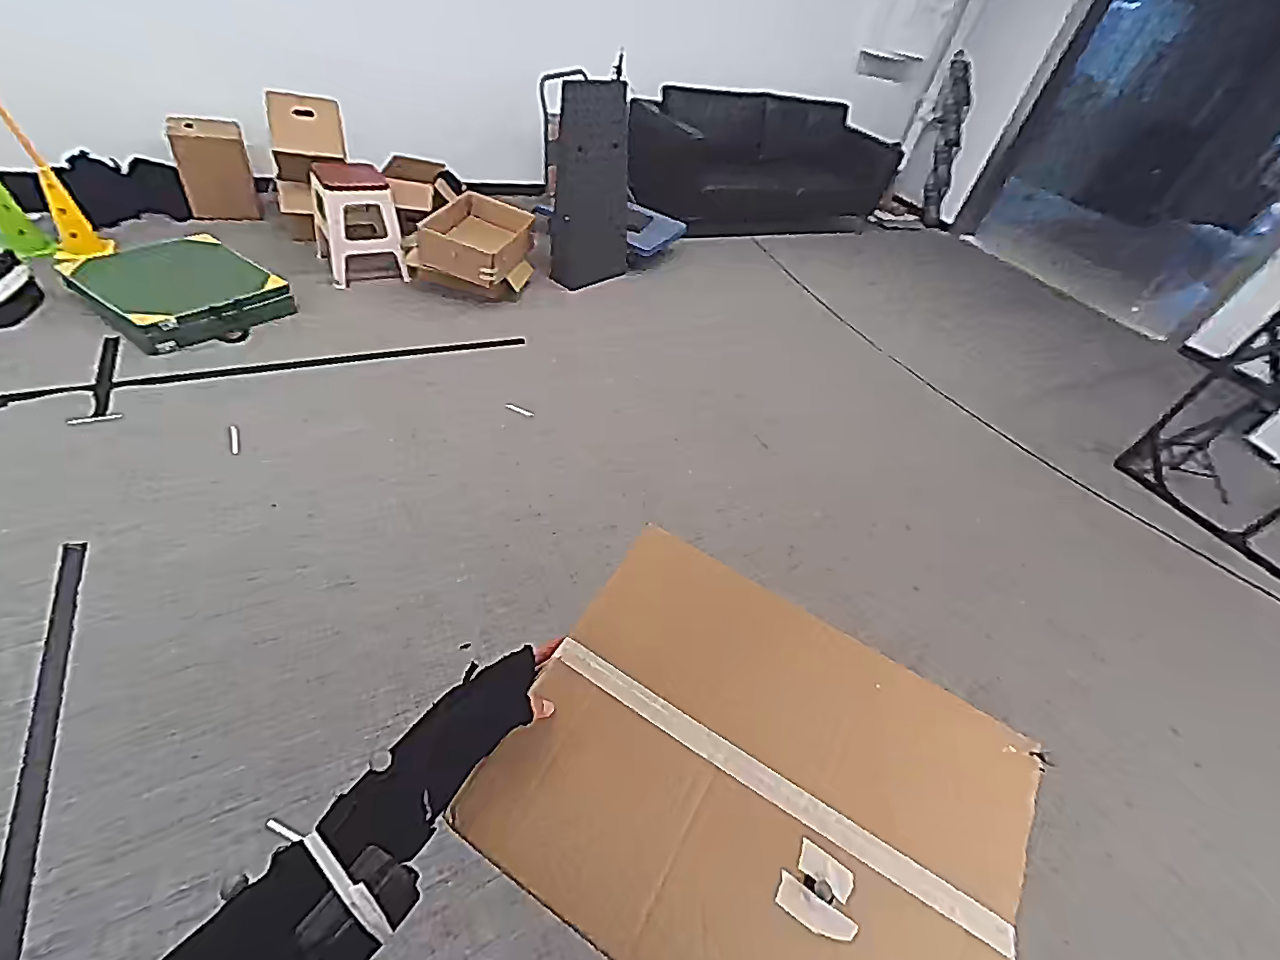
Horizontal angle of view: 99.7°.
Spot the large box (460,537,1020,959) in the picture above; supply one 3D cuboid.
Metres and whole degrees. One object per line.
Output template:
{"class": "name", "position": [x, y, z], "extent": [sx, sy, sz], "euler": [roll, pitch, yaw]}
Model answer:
{"class": "large box", "position": [0.086, 0.336, 0.580], "extent": [0.408, 0.320, 0.320], "euler": [29, 59, 13]}
